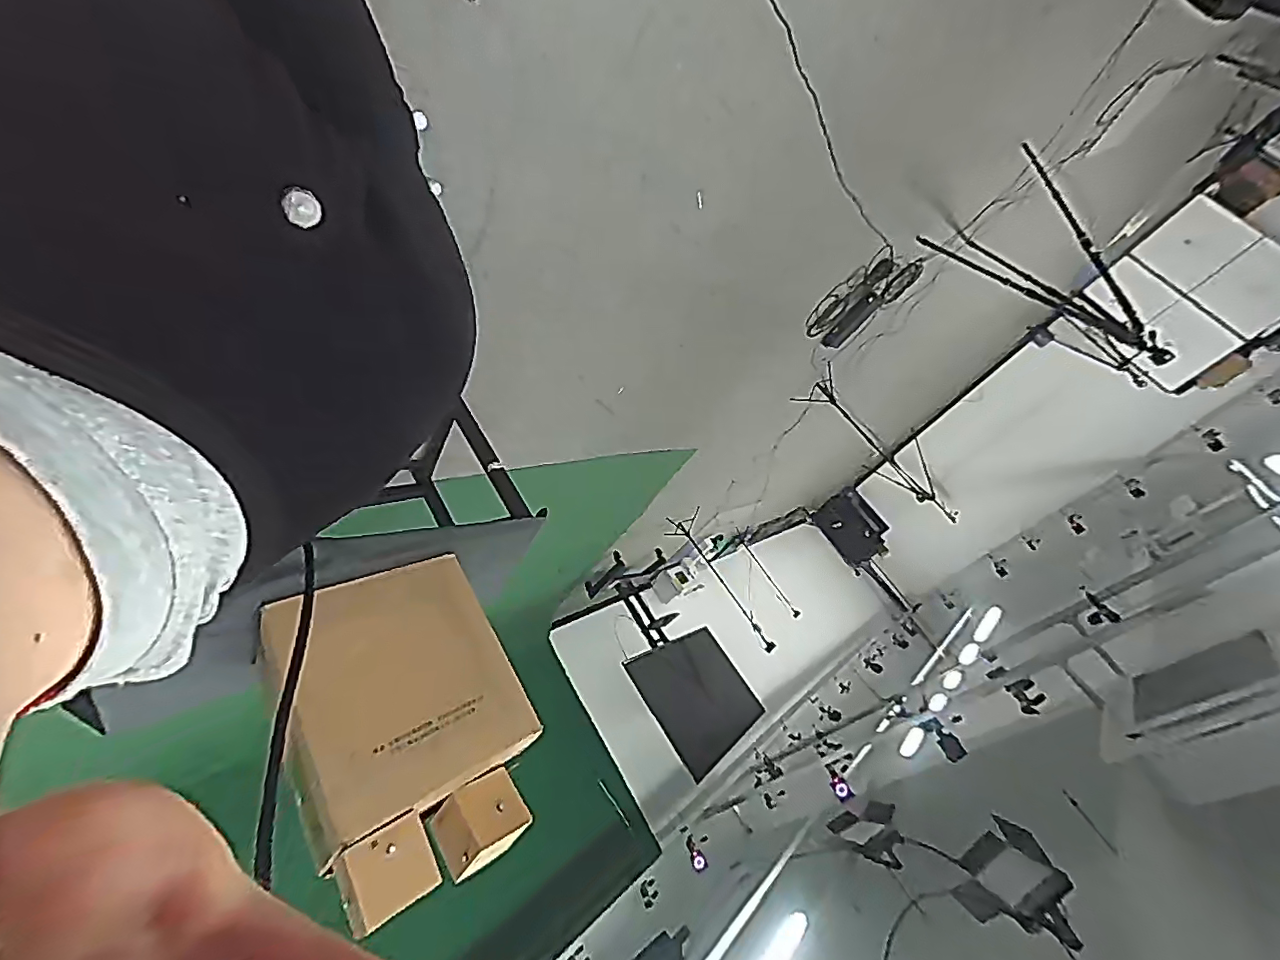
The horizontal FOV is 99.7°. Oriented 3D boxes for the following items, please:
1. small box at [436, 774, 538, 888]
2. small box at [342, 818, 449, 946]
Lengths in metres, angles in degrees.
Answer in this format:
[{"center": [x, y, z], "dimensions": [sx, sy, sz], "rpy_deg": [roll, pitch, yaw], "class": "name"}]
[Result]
[{"center": [-0.422, 0.950, 1.483], "dimensions": [0.179, 0.176, 0.168], "rpy_deg": [1, 127, -54], "class": "small box"}, {"center": [-0.572, 0.922, 1.250], "dimensions": [0.168, 0.176, 0.179], "rpy_deg": [-12, 148, -44], "class": "small box"}]
